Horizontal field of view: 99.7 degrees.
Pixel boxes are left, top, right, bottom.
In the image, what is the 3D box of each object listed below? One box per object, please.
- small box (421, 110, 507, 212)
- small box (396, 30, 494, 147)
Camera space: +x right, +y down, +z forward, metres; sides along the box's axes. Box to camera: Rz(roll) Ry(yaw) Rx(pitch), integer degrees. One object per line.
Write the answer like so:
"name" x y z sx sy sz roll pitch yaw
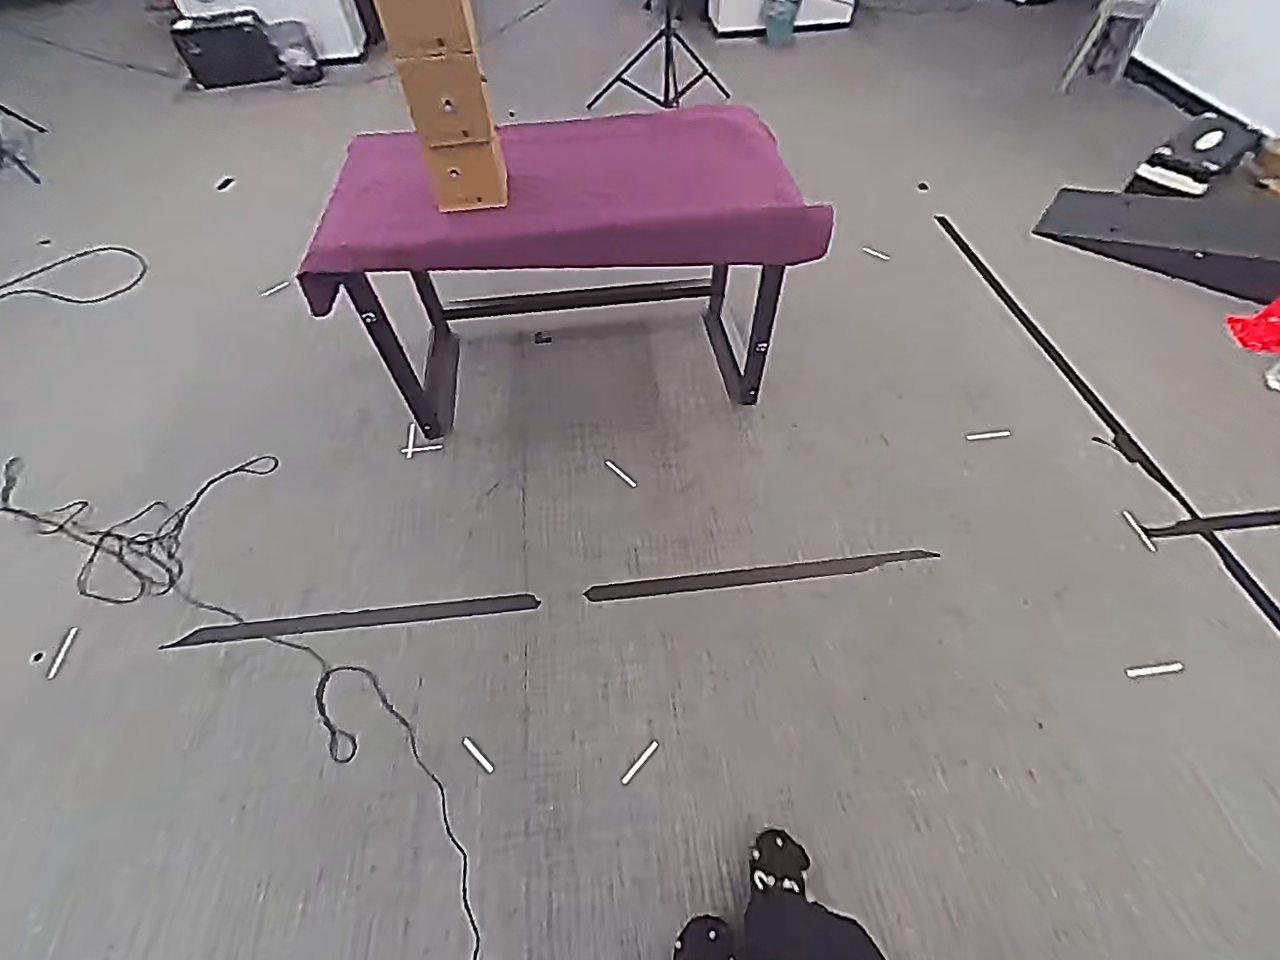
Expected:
"small box" -0.436 -0.798 1.364 0.168 0.176 0.179 -7 55 -3
"small box" -0.433 -0.874 1.218 0.168 0.176 0.179 -11 56 -6
